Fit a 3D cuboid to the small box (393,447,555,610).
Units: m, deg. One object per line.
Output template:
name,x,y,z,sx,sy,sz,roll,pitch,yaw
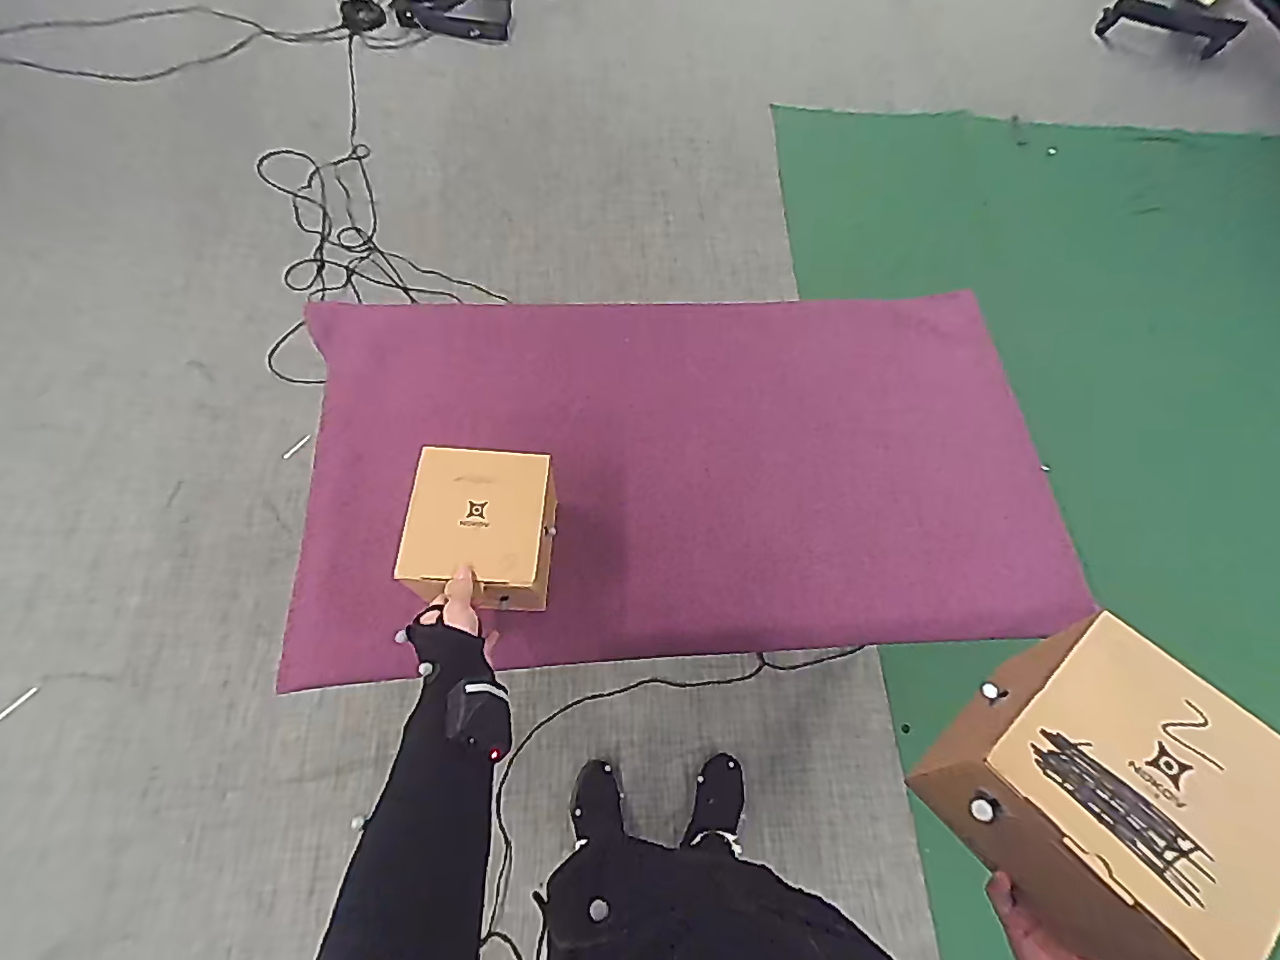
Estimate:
small box,-0.211,0.075,0.744,0.168,0.176,0.179,5,65,-3
